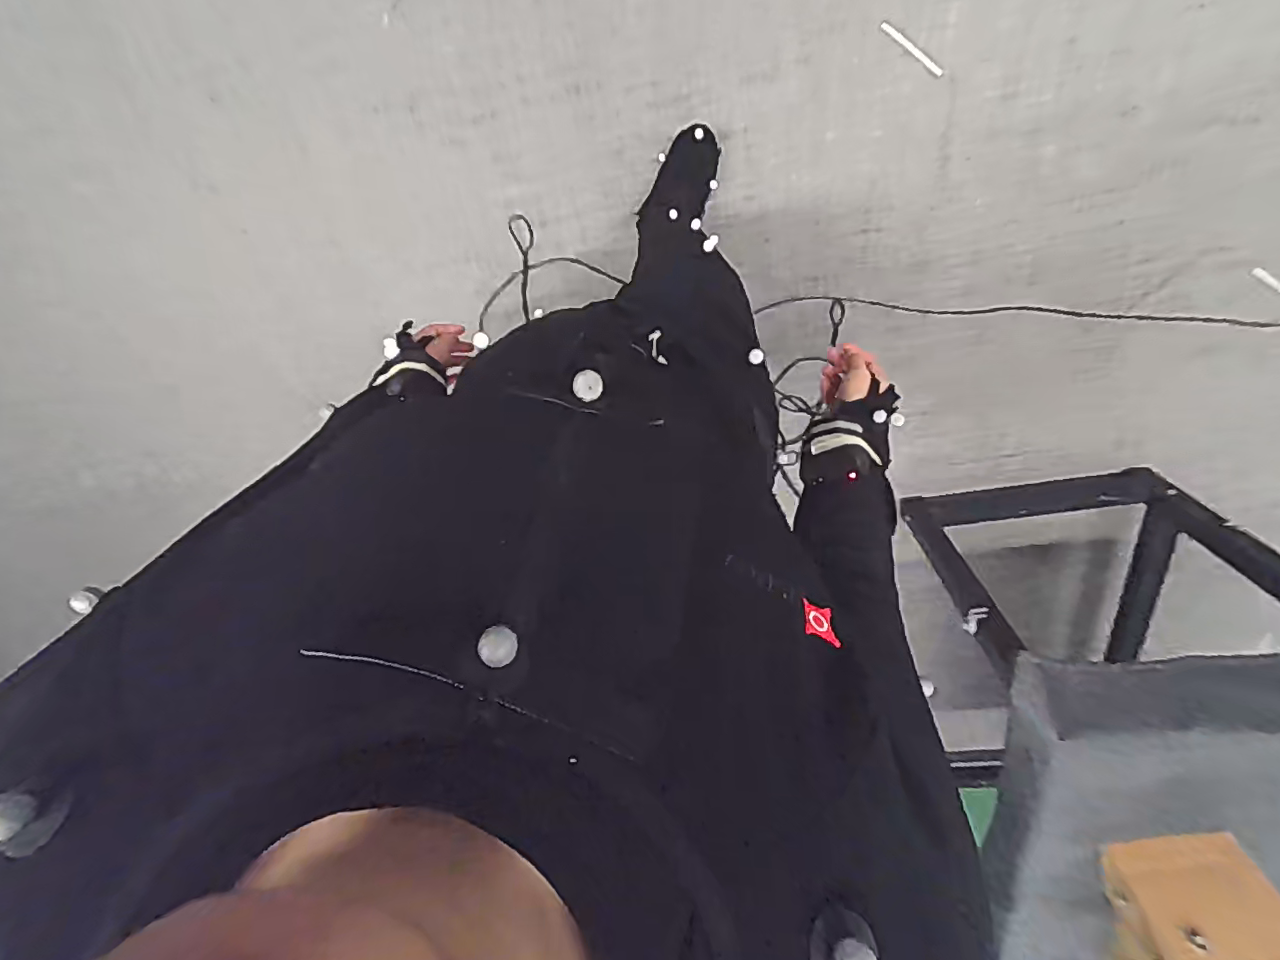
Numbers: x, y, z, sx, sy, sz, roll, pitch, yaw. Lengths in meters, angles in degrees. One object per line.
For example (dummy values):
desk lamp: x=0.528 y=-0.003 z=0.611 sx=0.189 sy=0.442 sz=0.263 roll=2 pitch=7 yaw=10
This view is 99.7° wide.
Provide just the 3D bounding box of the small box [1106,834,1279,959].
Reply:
small box: x=0.865 y=0.669 z=0.824 sx=0.179 sy=0.176 sz=0.168 roll=-19 pitch=117 yaw=16
